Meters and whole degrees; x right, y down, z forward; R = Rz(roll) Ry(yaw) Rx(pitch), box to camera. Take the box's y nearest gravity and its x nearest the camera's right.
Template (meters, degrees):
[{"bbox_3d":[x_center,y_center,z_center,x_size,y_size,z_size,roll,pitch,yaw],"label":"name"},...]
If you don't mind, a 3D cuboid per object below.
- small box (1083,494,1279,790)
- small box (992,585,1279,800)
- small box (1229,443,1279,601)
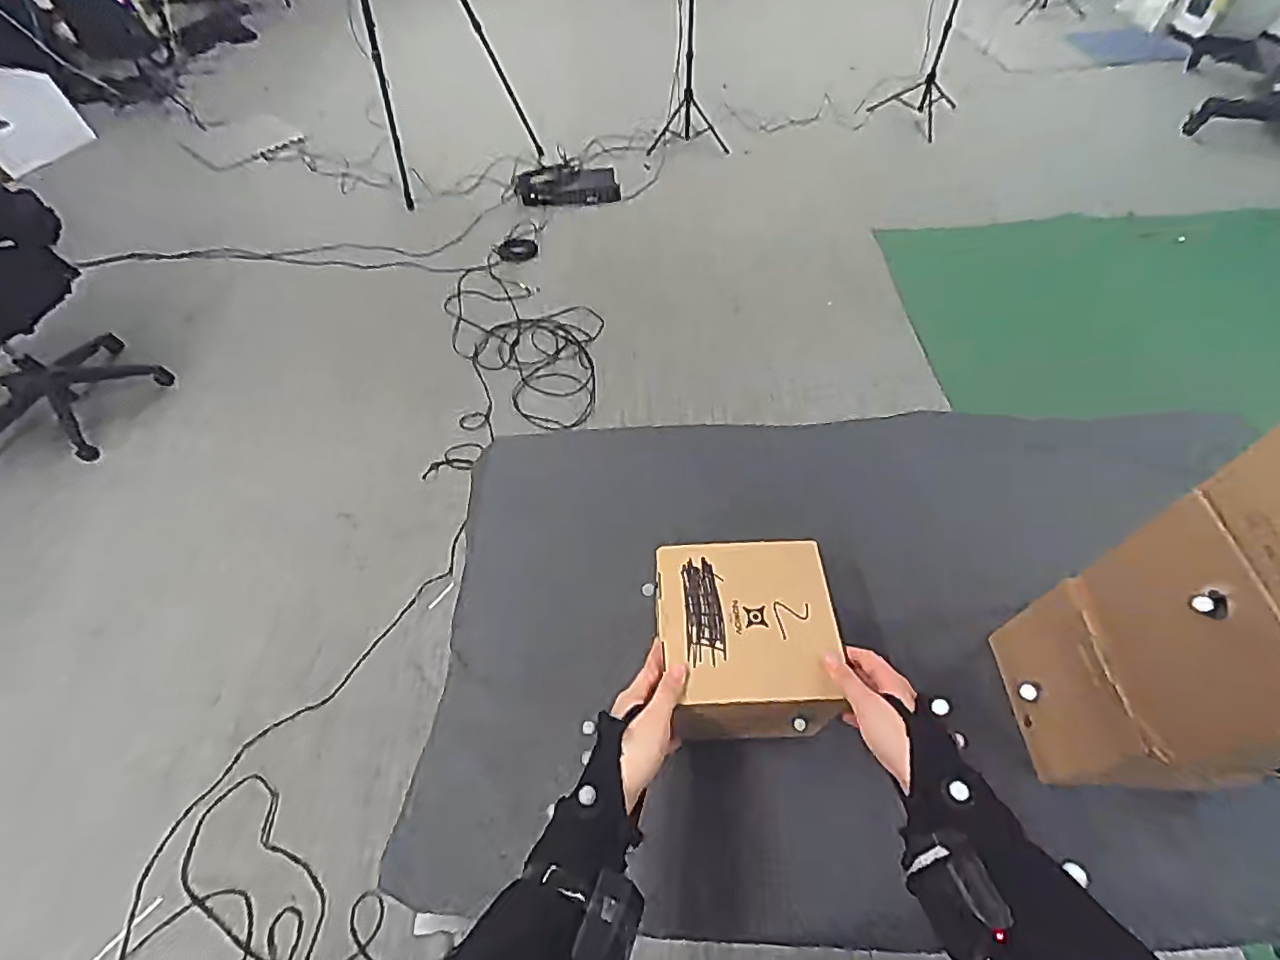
[{"bbox_3d":[0.502,0.130,0.420,0.168,0.176,0.179,1,54,6],"label":"small box"},{"bbox_3d":[0.511,0.221,0.553,0.179,0.176,0.168,0,53,4],"label":"small box"},{"bbox_3d":[0.495,0.030,0.290,0.179,0.176,0.168,2,53,7],"label":"small box"}]
